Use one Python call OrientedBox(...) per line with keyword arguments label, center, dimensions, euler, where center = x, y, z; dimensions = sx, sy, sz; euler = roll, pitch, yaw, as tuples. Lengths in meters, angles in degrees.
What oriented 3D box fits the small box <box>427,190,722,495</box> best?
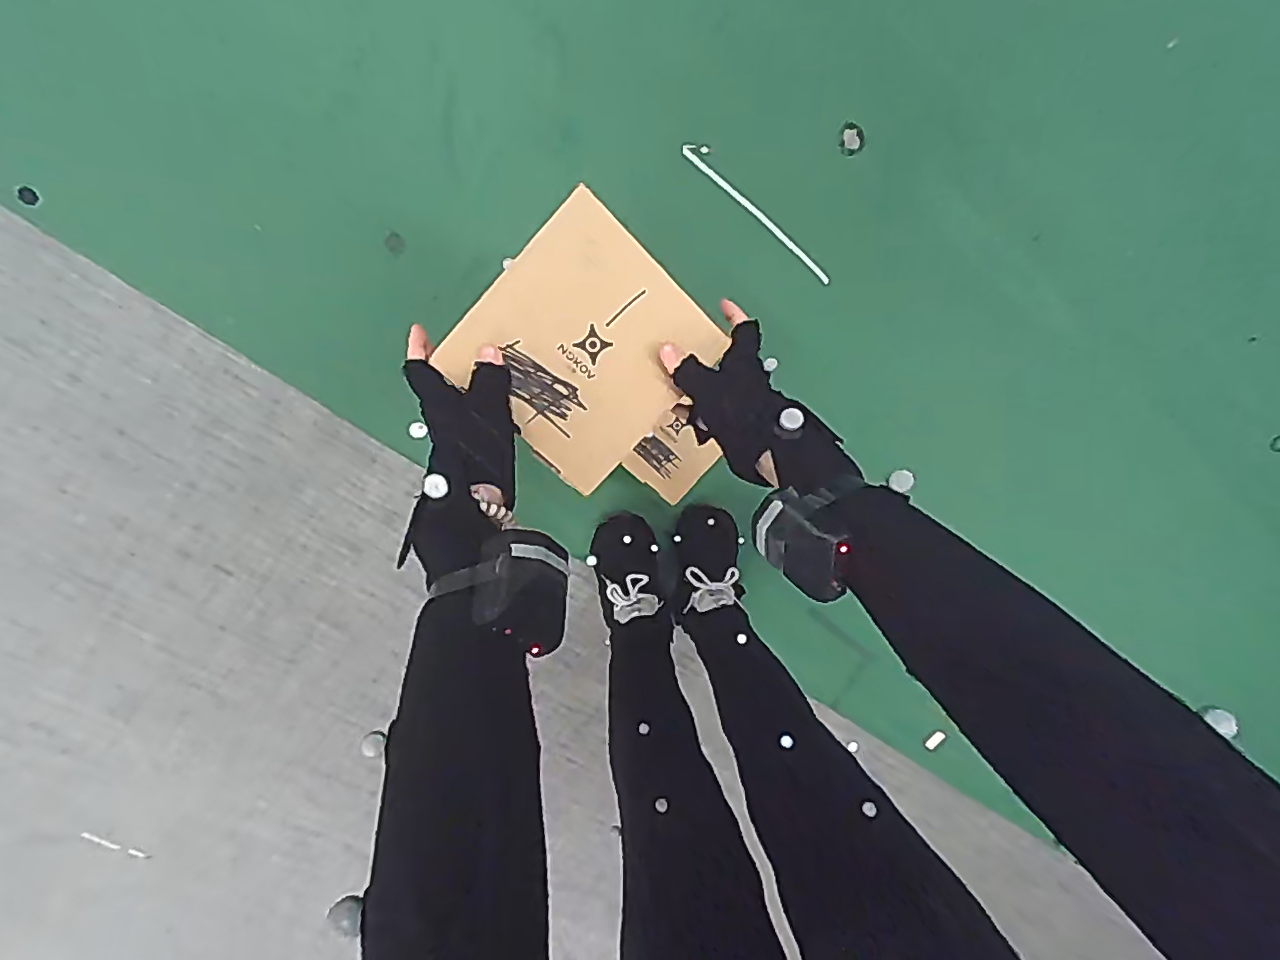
OrientedBox(label="small box", center=(-0.057, -0.119, 0.499), dimensions=(0.168, 0.176, 0.179), euler=(42, 96, -16))
